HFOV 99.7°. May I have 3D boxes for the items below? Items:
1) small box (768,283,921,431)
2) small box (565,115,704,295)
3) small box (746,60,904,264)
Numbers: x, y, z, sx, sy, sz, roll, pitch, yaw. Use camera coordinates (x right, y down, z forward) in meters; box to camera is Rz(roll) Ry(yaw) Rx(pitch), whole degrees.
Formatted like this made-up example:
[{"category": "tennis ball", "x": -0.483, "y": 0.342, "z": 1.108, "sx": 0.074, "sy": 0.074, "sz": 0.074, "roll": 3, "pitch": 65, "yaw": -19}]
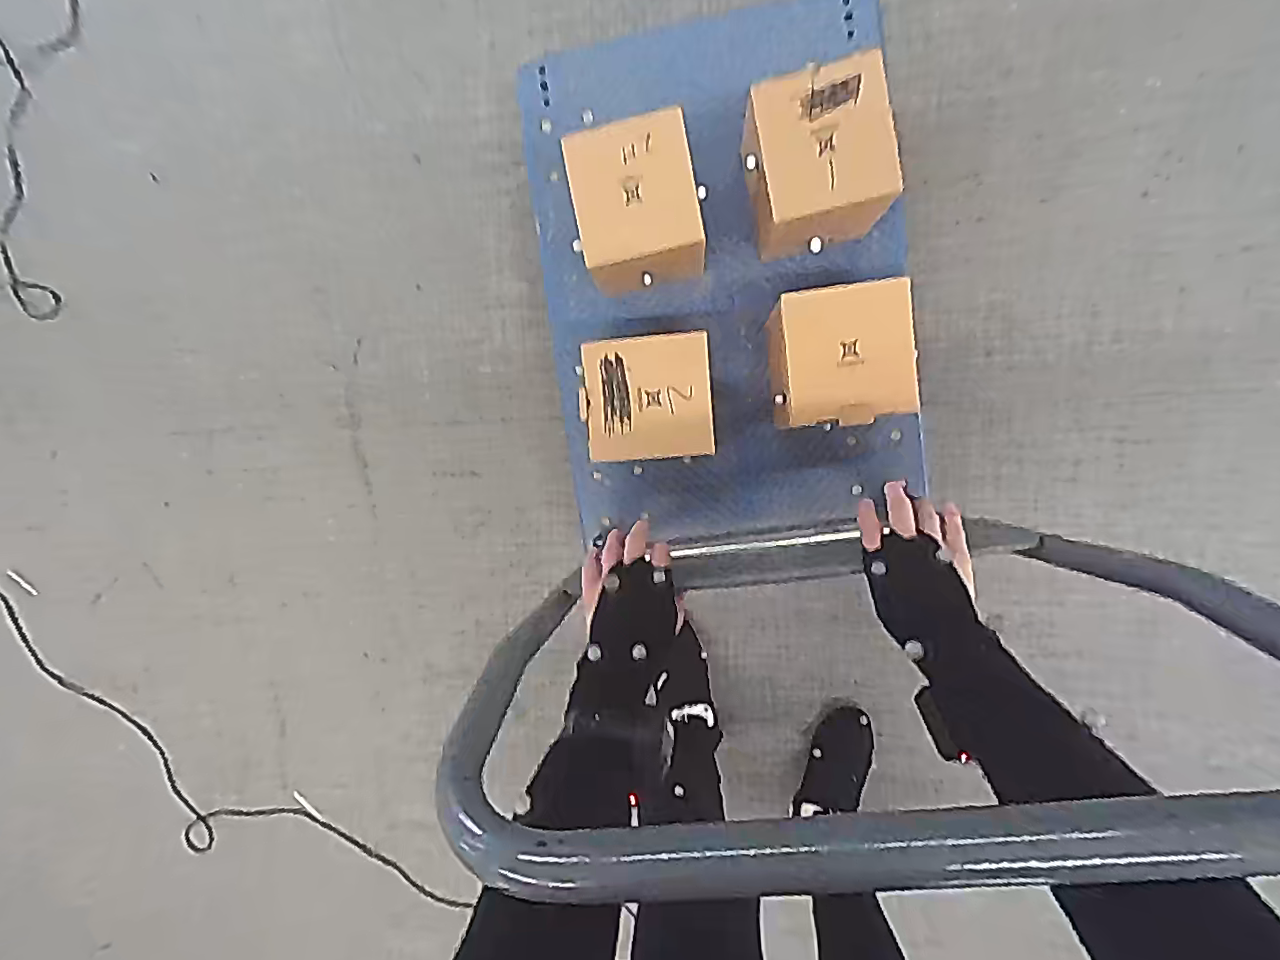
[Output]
[{"category": "small box", "x": 0.285, "y": -0.167, "z": 0.788, "sx": 0.168, "sy": 0.176, "sz": 0.179, "roll": -6, "pitch": 95, "yaw": 6}, {"category": "small box", "x": 0.002, "y": -0.386, "z": 0.799, "sx": 0.168, "sy": 0.176, "sz": 0.179, "roll": -10, "pitch": 93, "yaw": 6}, {"category": "small box", "x": 0.249, "y": -0.434, "z": 0.767, "sx": 0.168, "sy": 0.176, "sz": 0.179, "roll": -11, "pitch": 95, "yaw": 8}]
